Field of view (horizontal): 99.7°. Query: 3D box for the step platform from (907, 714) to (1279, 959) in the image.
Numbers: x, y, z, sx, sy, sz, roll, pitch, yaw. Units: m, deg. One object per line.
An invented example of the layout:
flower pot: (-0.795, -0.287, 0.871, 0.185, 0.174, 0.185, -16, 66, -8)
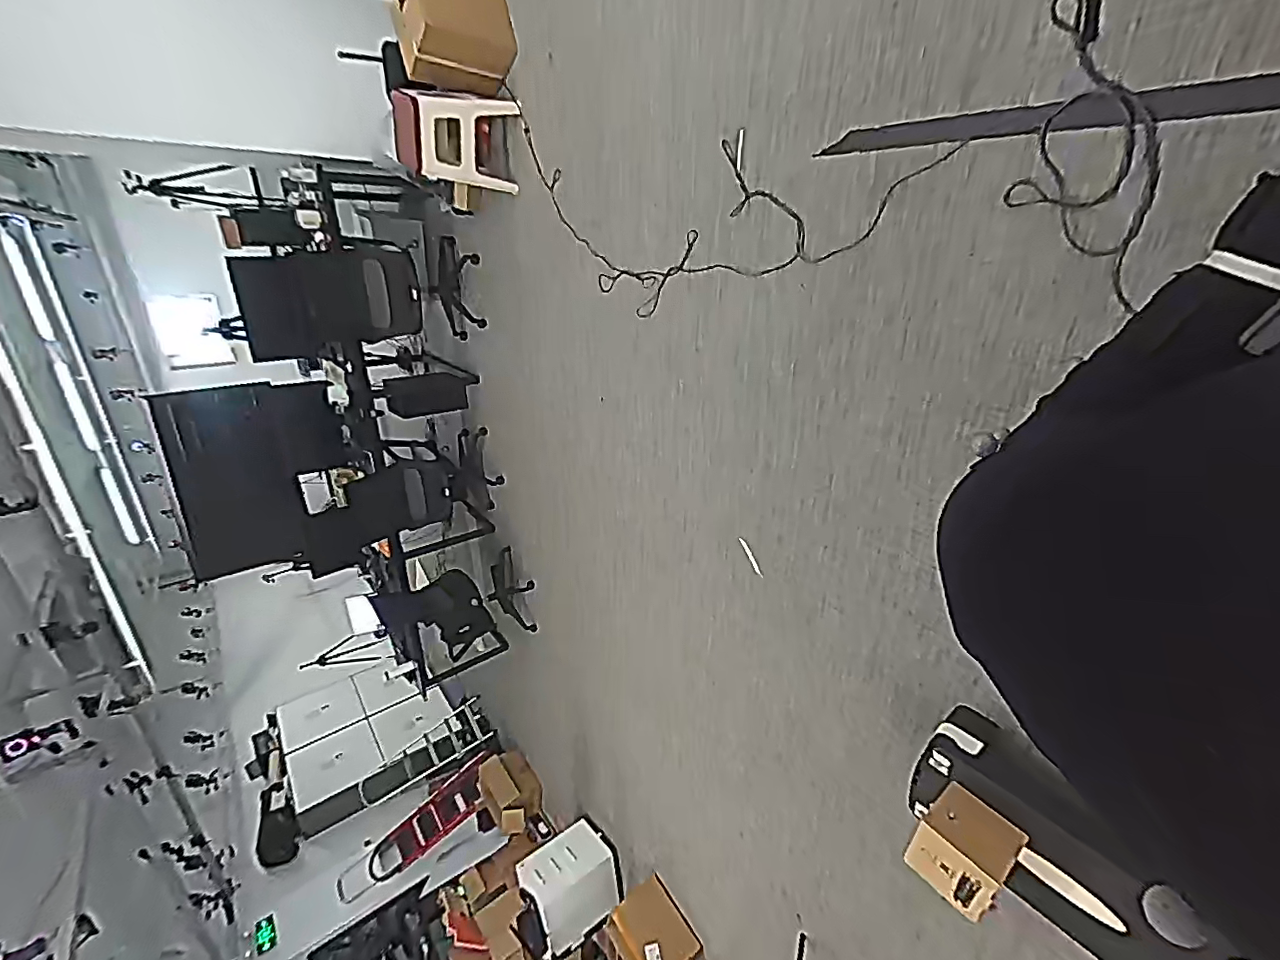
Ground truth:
step platform: (1.004, 0.895, 1.277, 0.684, 0.204, 0.286, 27, 126, 45)
